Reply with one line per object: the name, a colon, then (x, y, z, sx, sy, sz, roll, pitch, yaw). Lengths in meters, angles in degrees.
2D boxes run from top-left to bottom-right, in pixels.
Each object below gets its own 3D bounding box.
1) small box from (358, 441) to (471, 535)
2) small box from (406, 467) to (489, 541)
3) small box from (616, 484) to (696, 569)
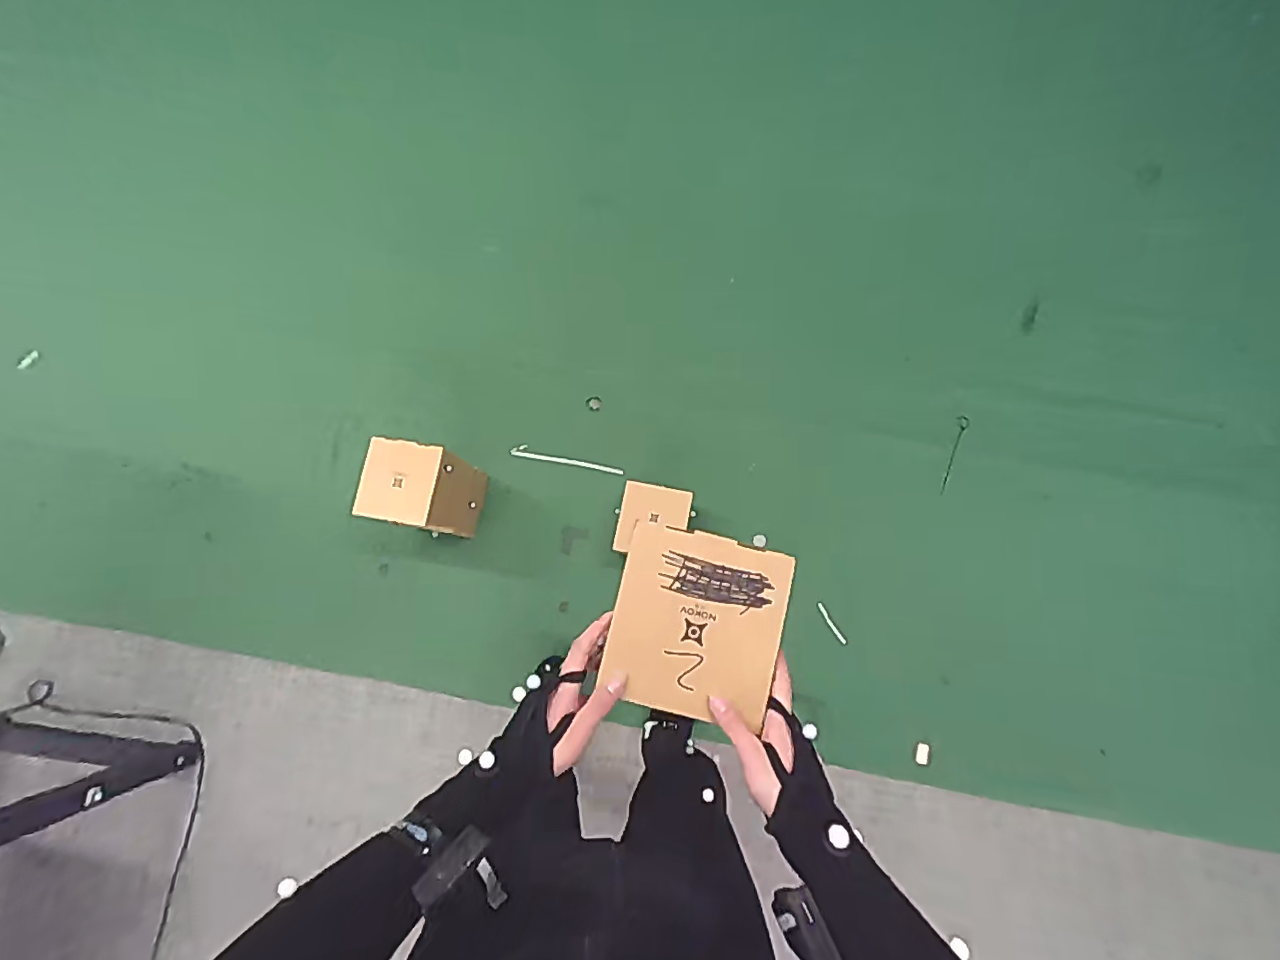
small box: (-0.506, 0.026, 1.239, 0.168, 0.176, 0.179, 9, 79, 4)
small box: (-0.503, 0.056, 1.398, 0.168, 0.176, 0.179, 9, 80, 4)
small box: (0.040, 0.124, 1.369, 0.168, 0.176, 0.179, 11, 80, 4)
